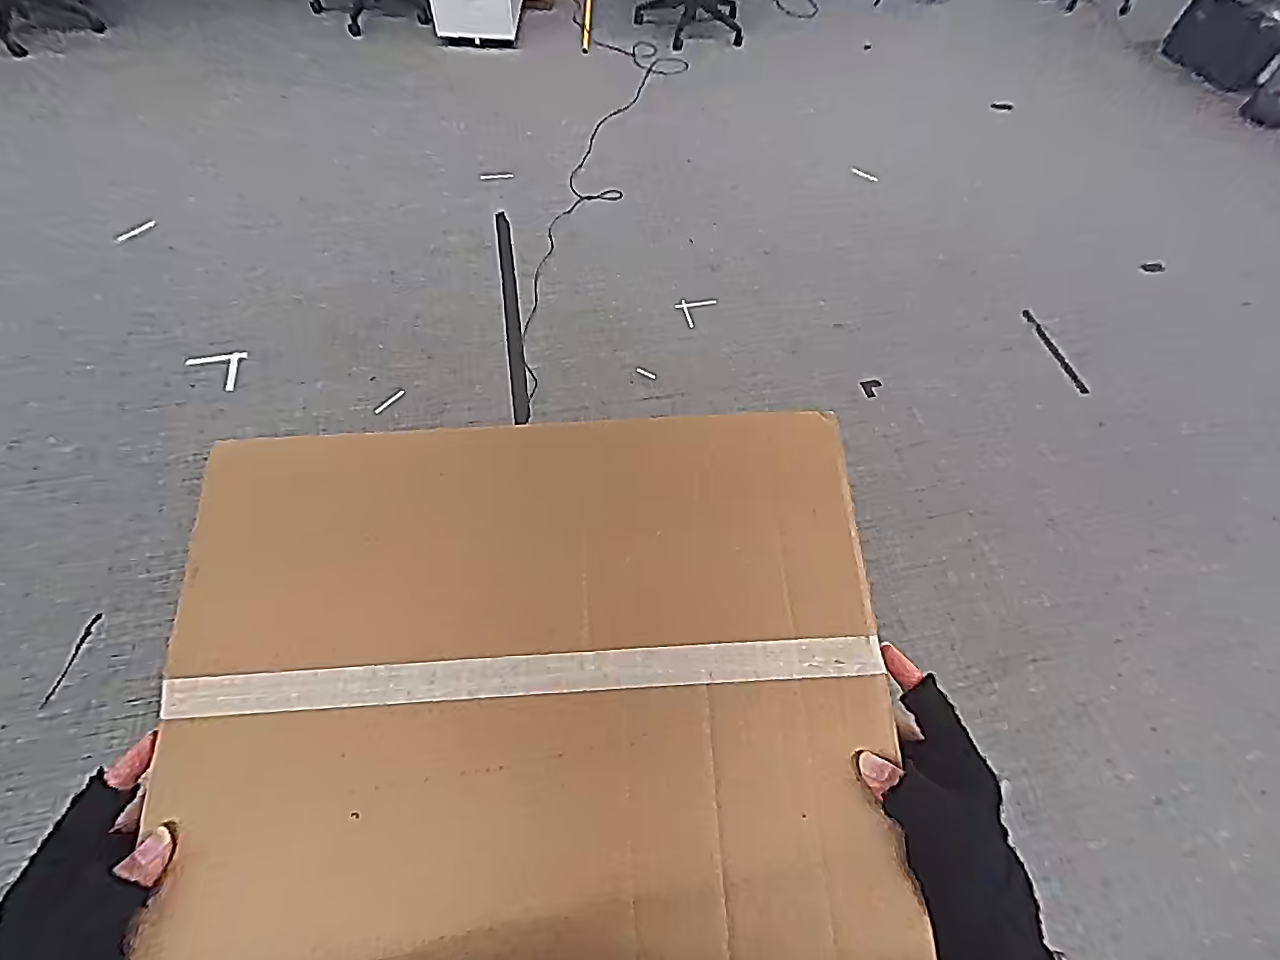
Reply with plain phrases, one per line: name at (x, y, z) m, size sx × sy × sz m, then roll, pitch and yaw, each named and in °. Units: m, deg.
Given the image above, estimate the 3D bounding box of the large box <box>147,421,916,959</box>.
large box at (-0.063, 0.163, 0.461) m, size 0.408 × 0.320 × 0.320 m, roll -3°, pitch 73°, yaw -1°
